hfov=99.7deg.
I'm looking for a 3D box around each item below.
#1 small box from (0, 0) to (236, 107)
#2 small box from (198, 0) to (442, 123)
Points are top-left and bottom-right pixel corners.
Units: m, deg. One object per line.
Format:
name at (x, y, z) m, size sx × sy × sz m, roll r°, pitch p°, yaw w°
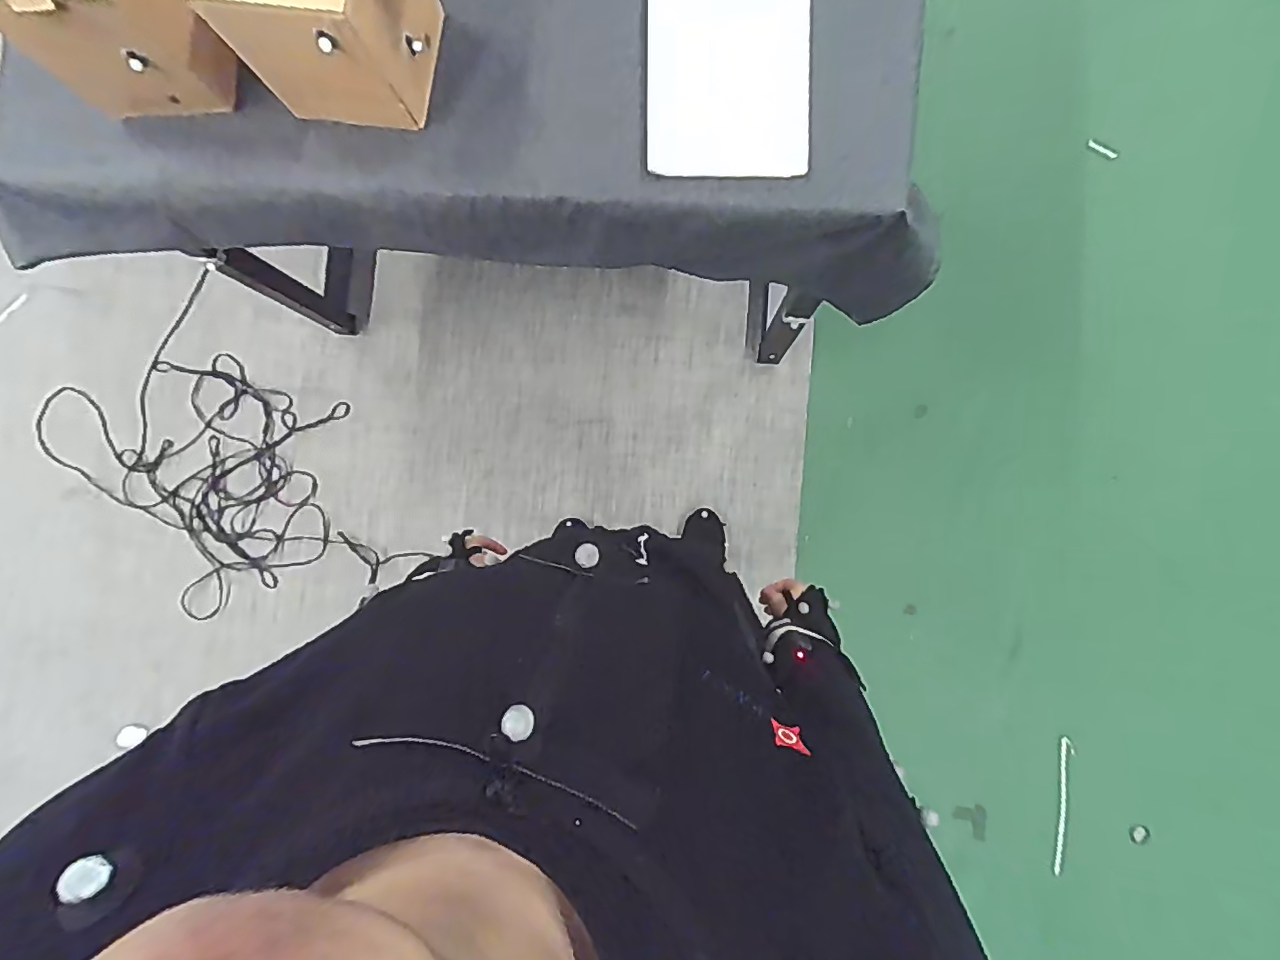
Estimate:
small box at (-0.612, -0.573, 0.633) m, size 0.168 × 0.176 × 0.179 m, roll -1°, pitch 86°, yaw 2°
small box at (-0.355, -0.547, 0.617) m, size 0.179 × 0.176 × 0.168 m, roll 8°, pitch 87°, yaw 3°
